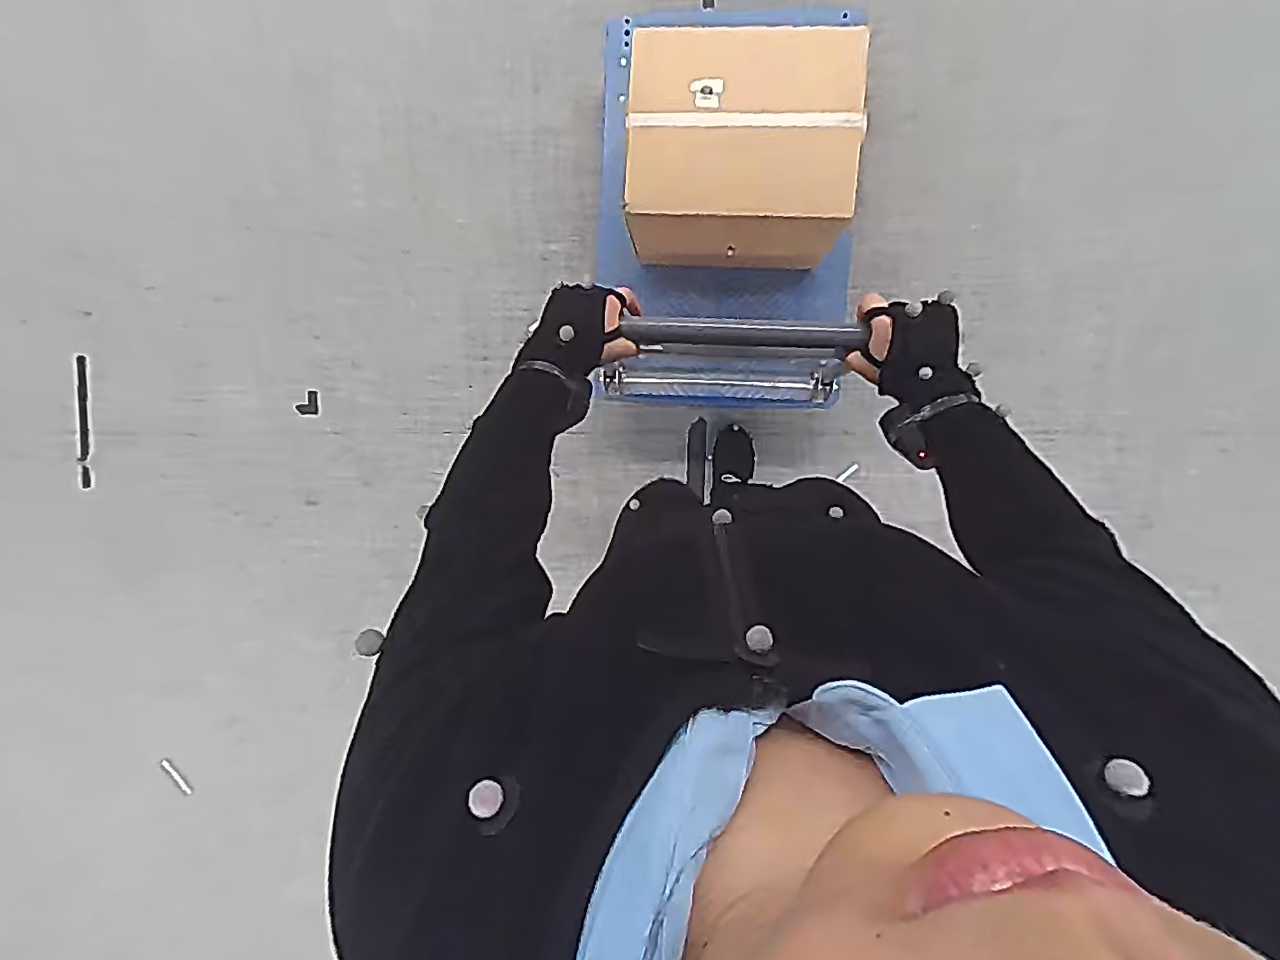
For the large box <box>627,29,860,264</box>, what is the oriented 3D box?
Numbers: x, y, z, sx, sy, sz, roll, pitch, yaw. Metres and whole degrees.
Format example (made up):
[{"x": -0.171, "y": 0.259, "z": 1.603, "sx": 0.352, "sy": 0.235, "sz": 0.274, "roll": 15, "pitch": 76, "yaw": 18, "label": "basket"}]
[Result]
[{"x": 0.197, "y": -0.645, "z": 1.110, "sx": 0.408, "sy": 0.320, "sz": 0.320, "roll": 3, "pitch": 94, "yaw": 6, "label": "large box"}]
